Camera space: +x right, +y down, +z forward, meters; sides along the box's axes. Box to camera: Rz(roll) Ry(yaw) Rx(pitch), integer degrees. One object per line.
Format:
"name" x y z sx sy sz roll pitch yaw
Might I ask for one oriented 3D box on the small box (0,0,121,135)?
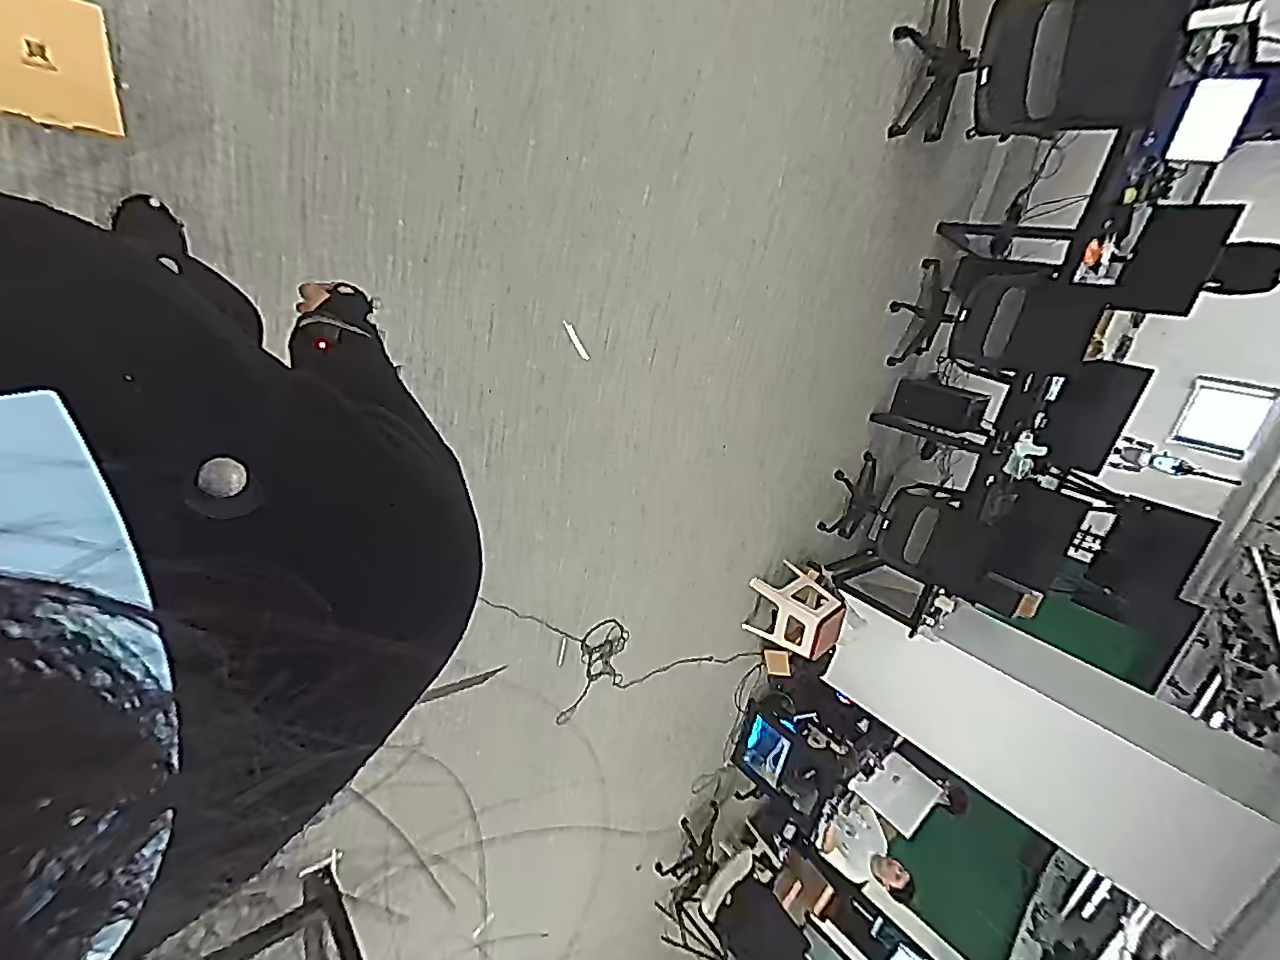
"small box" -0.940 -0.660 0.841 0.168 0.176 0.179 -11 120 -41
